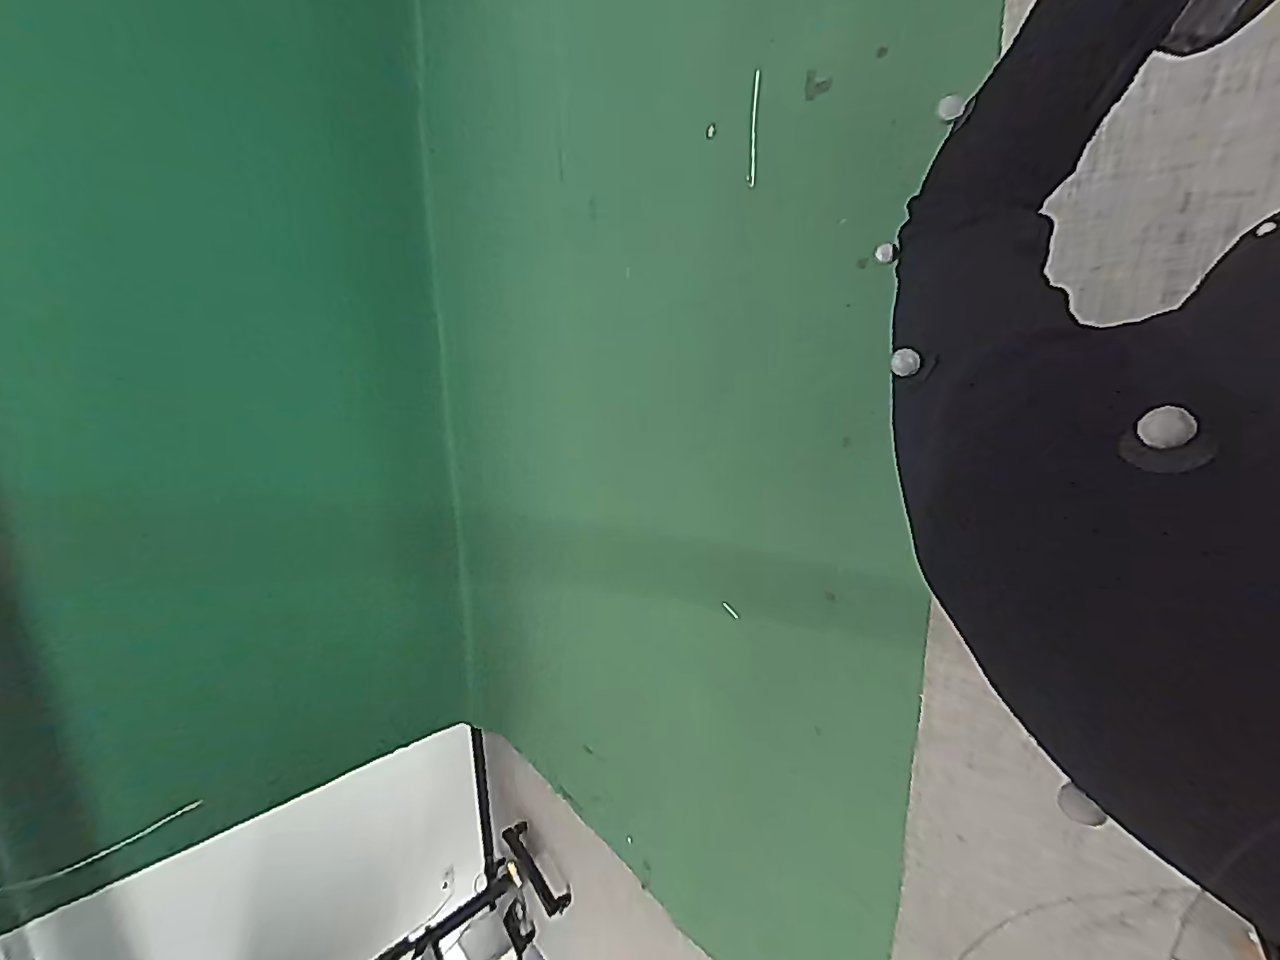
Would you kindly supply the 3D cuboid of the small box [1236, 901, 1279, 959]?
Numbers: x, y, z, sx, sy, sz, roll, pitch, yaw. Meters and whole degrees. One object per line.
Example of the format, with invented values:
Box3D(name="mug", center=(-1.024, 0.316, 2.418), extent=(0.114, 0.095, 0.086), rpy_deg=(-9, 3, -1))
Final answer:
Box3D(name="small box", center=(1.257, 0.941, 0.992), extent=(0.179, 0.176, 0.168), rpy_deg=(32, 121, 41))
